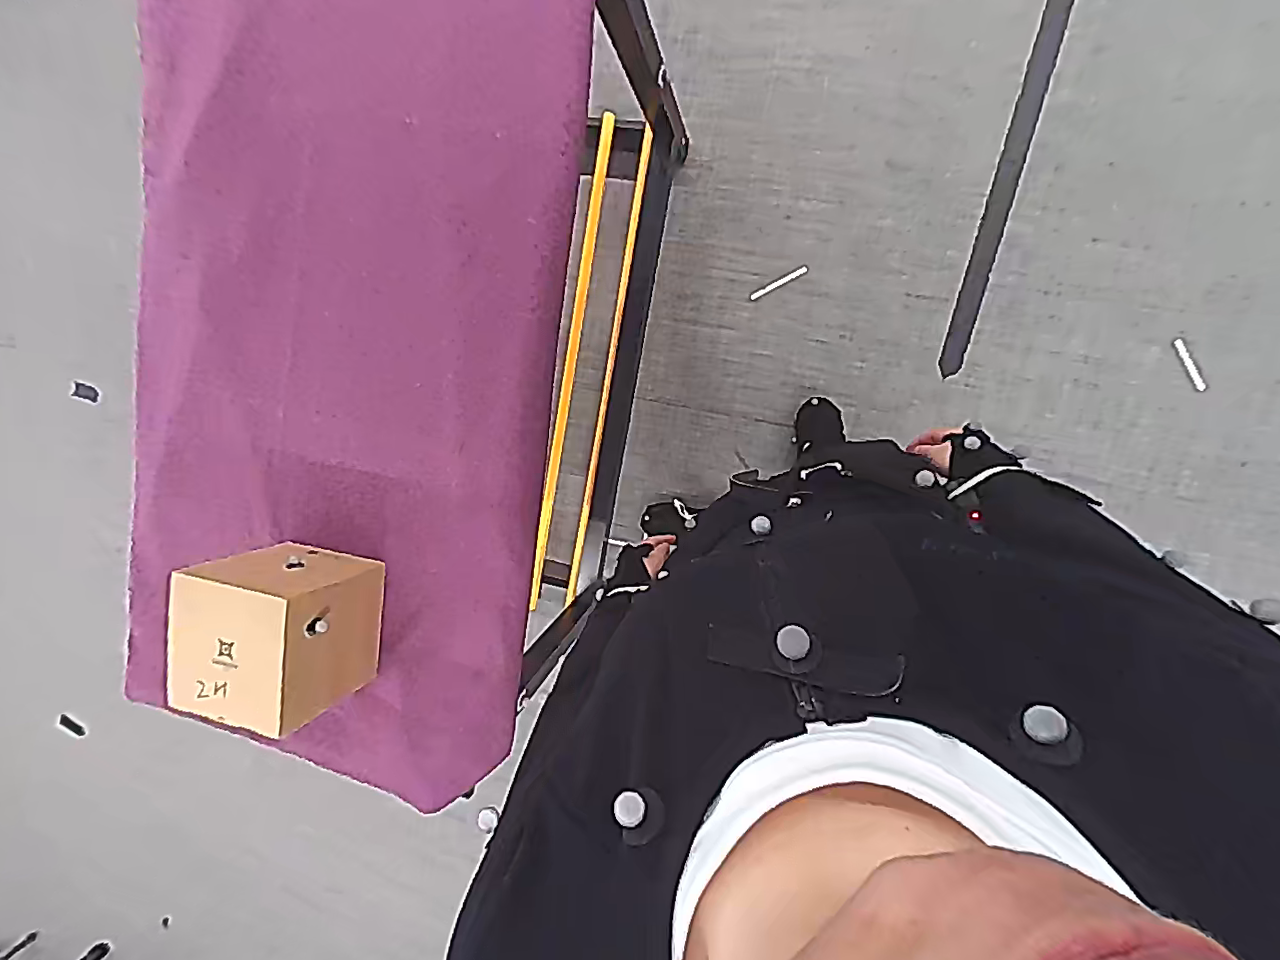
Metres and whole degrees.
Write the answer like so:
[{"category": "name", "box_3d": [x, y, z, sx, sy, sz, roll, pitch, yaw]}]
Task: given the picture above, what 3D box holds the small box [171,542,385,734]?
[{"category": "small box", "box_3d": [-0.463, 0.191, 0.712, 0.168, 0.176, 0.179, 10, 98, 12]}]
